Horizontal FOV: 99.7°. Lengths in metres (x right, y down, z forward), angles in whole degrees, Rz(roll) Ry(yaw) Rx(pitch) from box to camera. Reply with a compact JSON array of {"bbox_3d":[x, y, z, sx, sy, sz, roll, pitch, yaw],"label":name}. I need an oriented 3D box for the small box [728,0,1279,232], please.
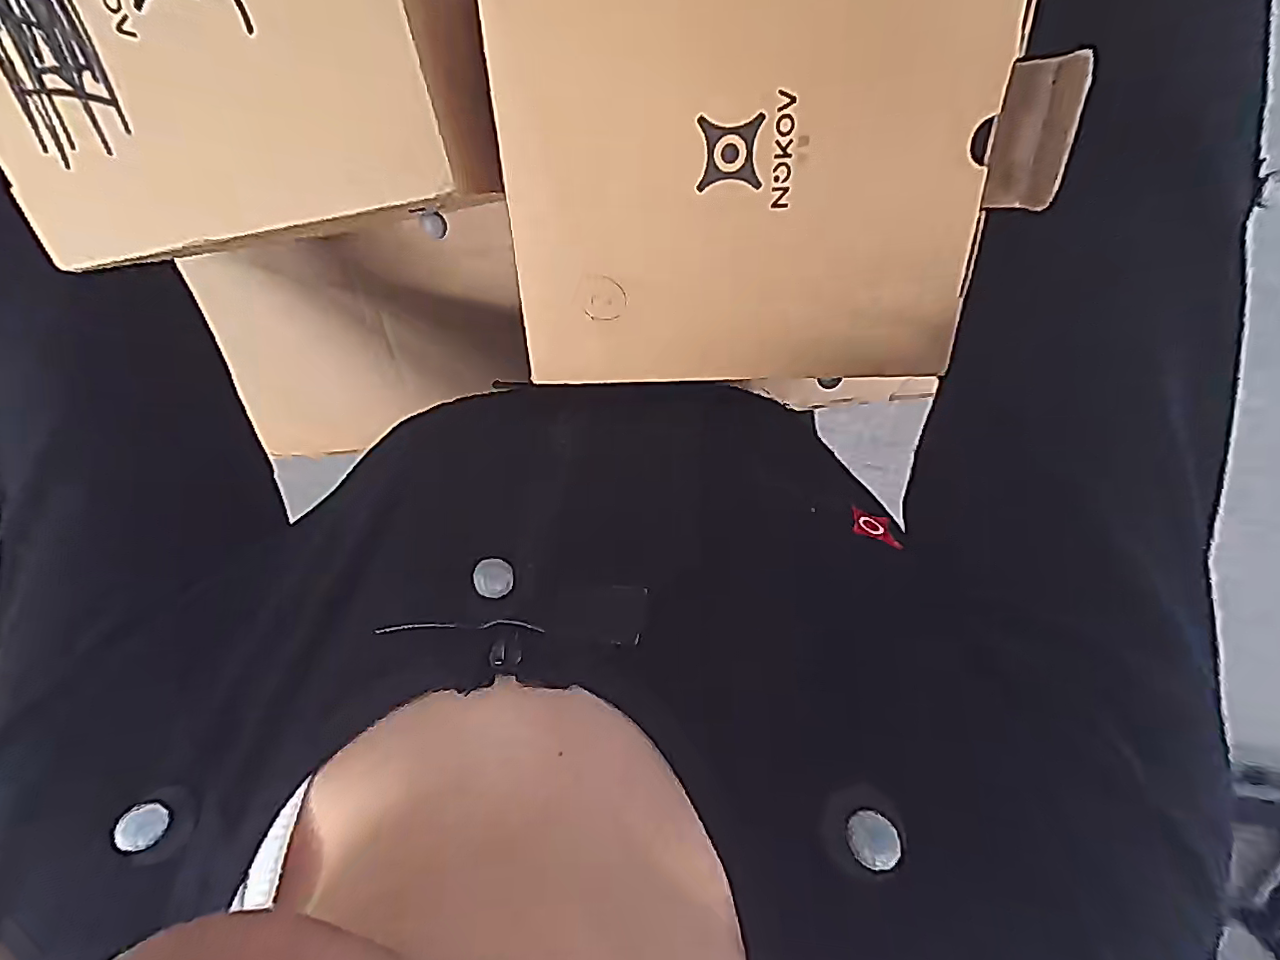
[{"bbox_3d":[0.141,-0.215,0.207,0.179,0.176,0.168,11,130,-4],"label":"small box"}]
